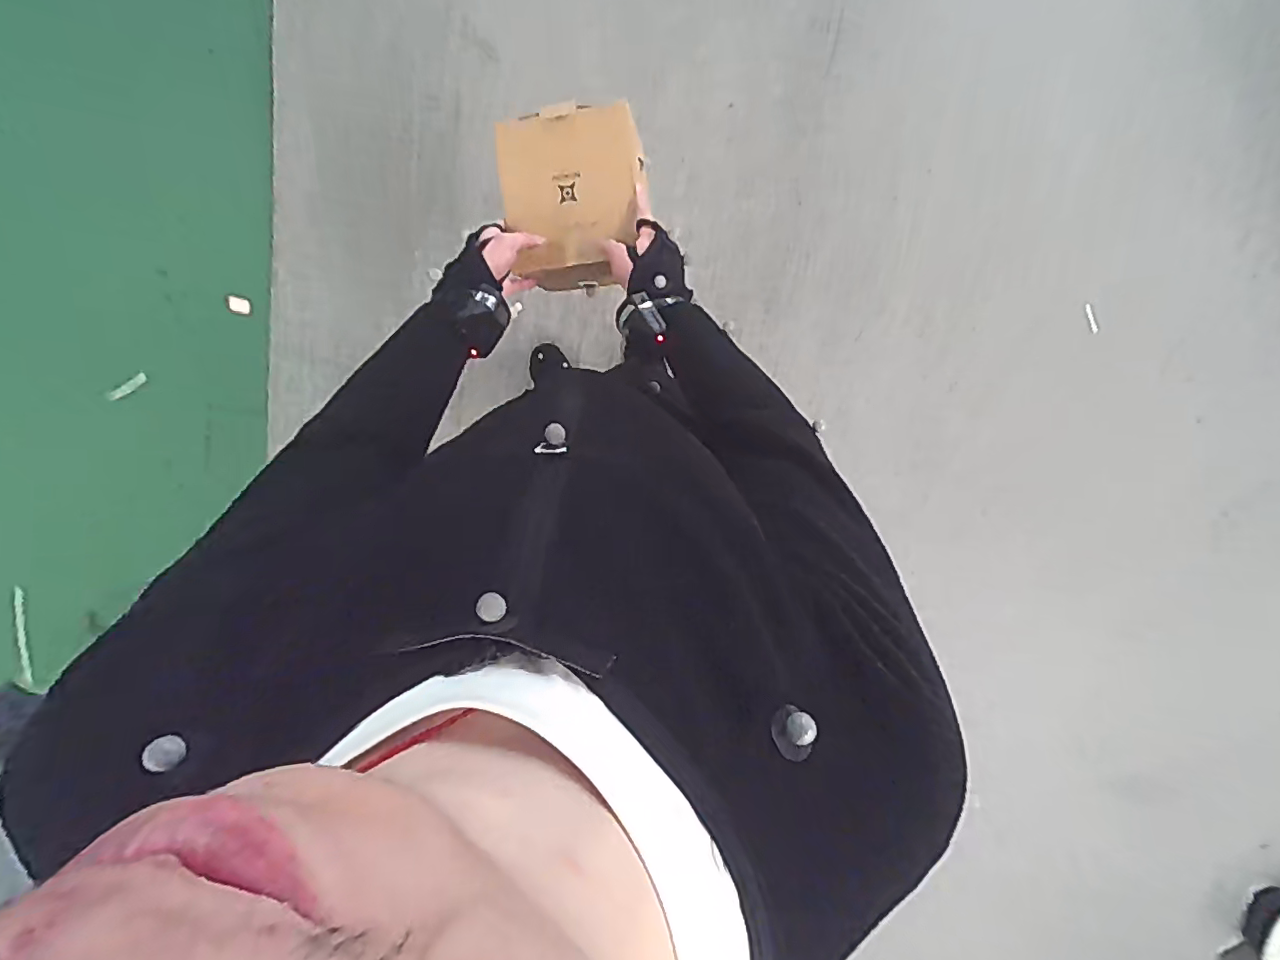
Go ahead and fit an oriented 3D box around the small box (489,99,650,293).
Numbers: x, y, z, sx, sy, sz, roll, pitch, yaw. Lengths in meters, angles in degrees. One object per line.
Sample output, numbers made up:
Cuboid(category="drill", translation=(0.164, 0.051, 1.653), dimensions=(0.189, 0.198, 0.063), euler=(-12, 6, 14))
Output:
Cuboid(category="small box", translation=(-0.081, -0.355, 0.710), dimensions=(0.168, 0.176, 0.179), euler=(-2, 101, 9))
